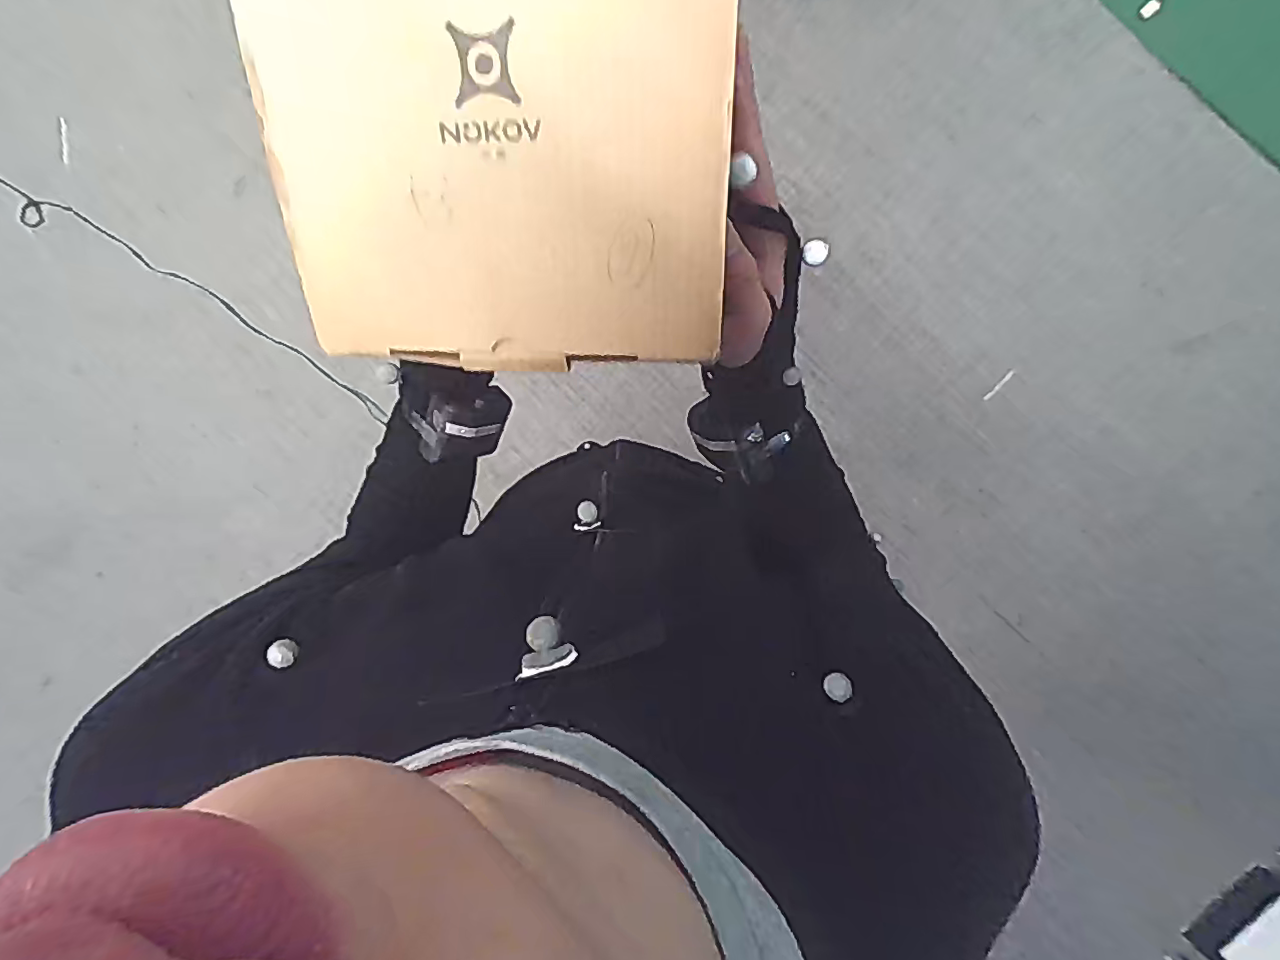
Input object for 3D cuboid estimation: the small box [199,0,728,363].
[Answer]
[{"bbox_3d":[-0.047,-0.159,0.243,0.168,0.176,0.179,2,115,5],"label":"small box"}]
